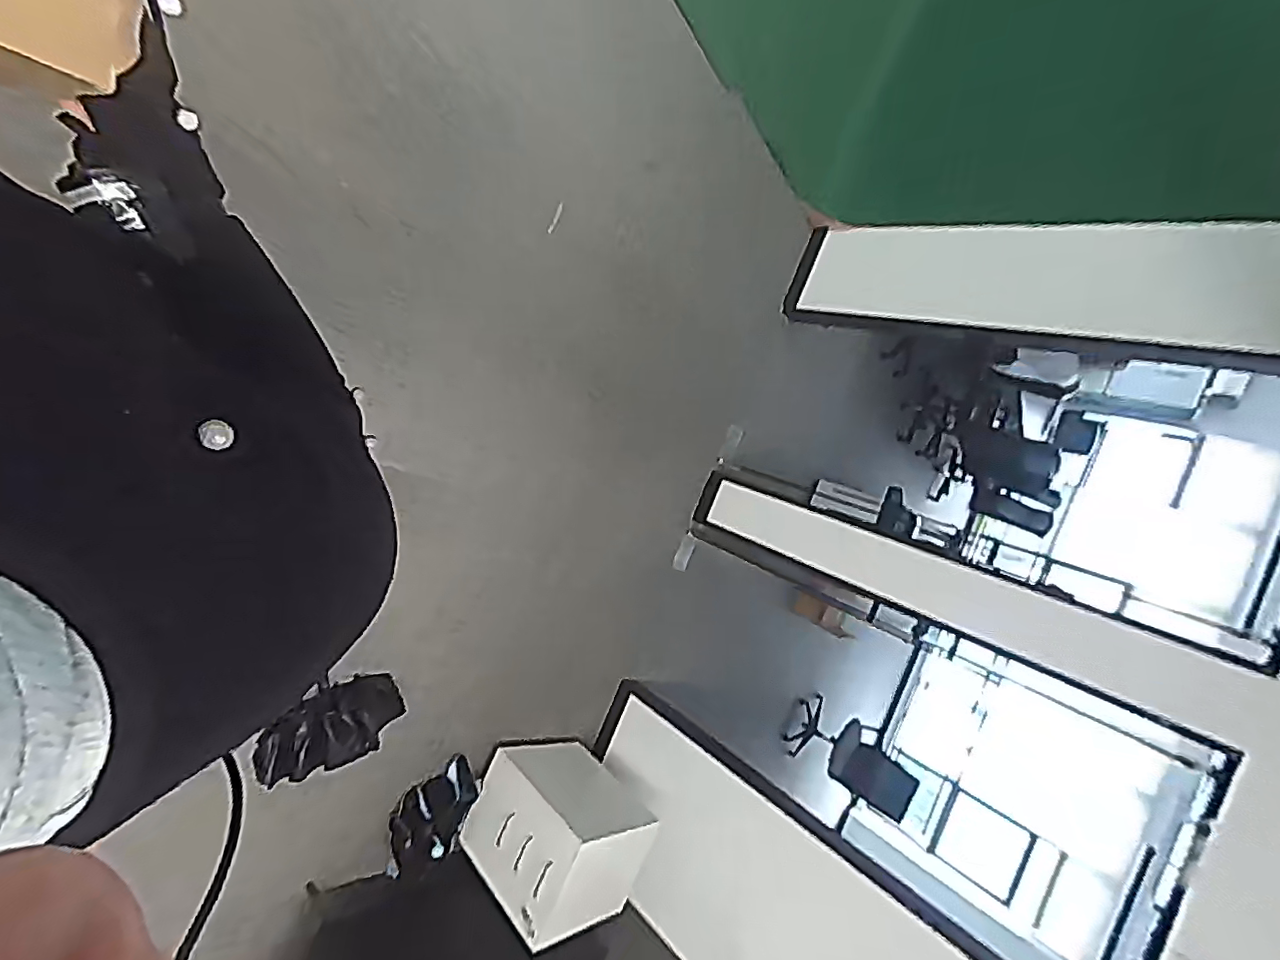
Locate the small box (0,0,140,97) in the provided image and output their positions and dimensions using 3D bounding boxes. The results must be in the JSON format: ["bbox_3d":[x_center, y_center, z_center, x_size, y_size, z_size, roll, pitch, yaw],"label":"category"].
[{"bbox_3d":[-0.331,-0.276,0.207,0.179,0.176,0.168,-6,113,-57],"label":"small box"}]
